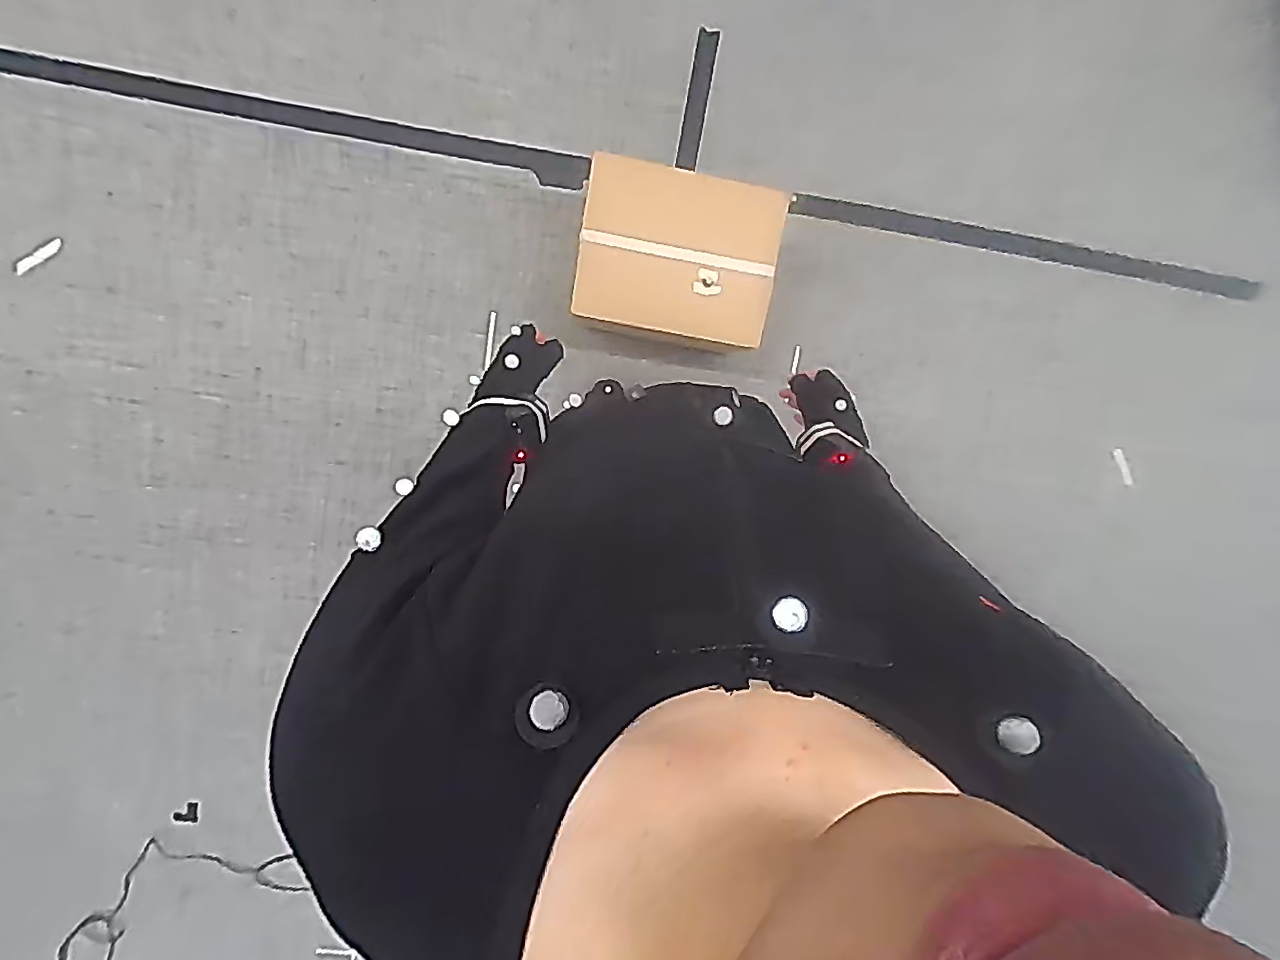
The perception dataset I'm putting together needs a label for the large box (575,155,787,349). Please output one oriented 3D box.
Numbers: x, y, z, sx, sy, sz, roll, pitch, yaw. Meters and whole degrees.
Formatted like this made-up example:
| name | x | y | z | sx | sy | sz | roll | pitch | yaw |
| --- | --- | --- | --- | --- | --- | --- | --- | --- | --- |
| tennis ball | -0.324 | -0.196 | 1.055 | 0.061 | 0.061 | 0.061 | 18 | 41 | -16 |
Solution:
| name | x | y | z | sx | sy | sz | roll | pitch | yaw |
| --- | --- | --- | --- | --- | --- | --- | --- | --- | --- |
| large box | 0.069 | -0.493 | 1.249 | 0.408 | 0.320 | 0.320 | 9 | 101 | -6 |
